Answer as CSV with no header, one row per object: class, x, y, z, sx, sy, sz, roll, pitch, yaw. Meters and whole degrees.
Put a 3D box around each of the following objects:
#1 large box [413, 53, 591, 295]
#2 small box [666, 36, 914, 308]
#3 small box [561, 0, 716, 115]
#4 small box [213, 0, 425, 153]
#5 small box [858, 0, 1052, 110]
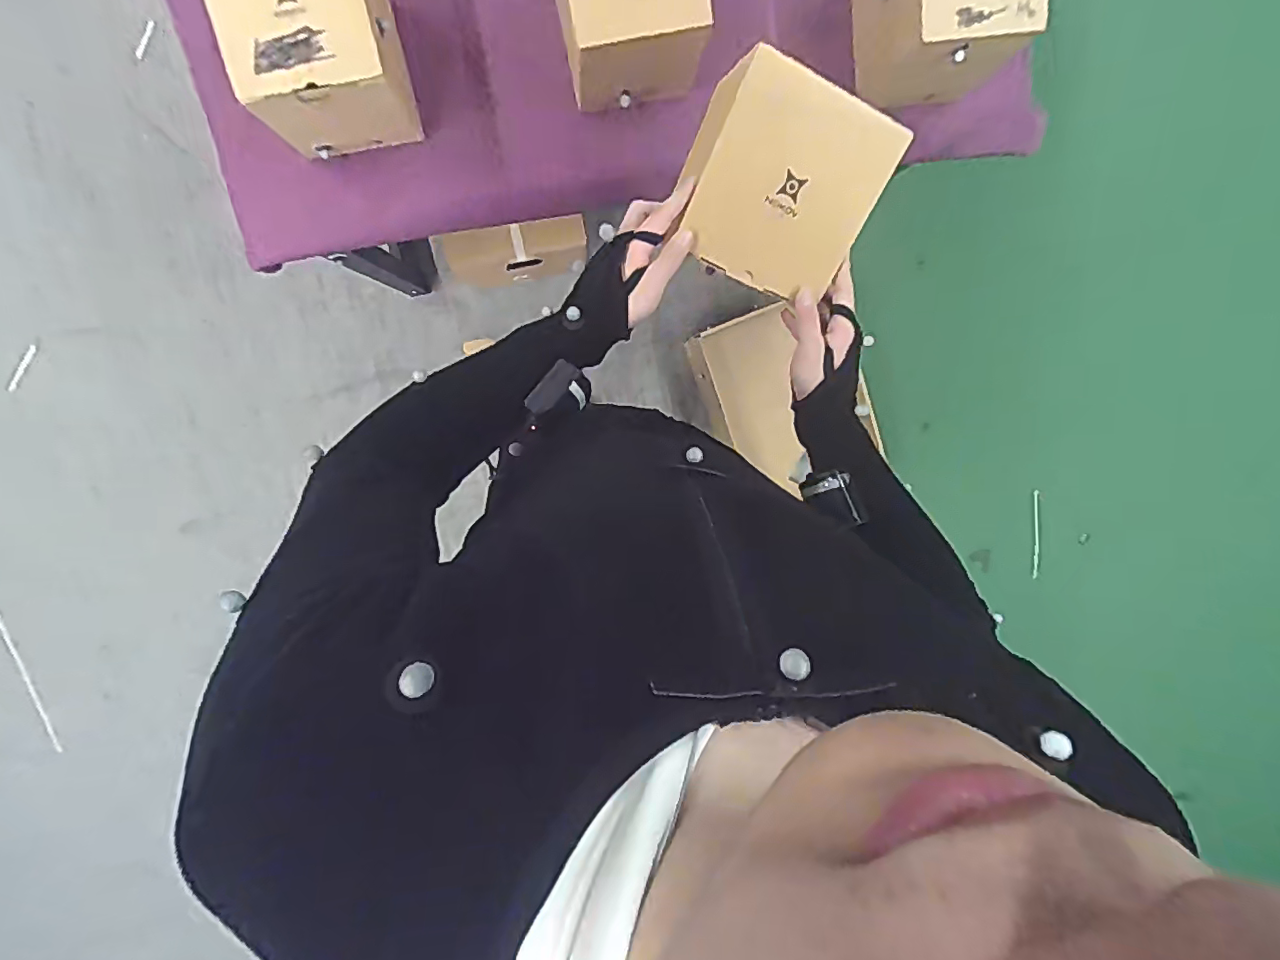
large box,-0.315,-0.710,1.323,0.320,0.320,0.408,-13,101,-4
small box,0.135,-0.310,0.570,0.168,0.176,0.179,19,116,-13
small box,-0.012,-0.615,0.696,0.168,0.176,0.179,-12,101,-3
small box,-0.387,-0.534,0.671,0.168,0.176,0.179,-12,100,-4
small box,0.413,-0.642,0.732,0.168,0.176,0.179,-8,99,-3
